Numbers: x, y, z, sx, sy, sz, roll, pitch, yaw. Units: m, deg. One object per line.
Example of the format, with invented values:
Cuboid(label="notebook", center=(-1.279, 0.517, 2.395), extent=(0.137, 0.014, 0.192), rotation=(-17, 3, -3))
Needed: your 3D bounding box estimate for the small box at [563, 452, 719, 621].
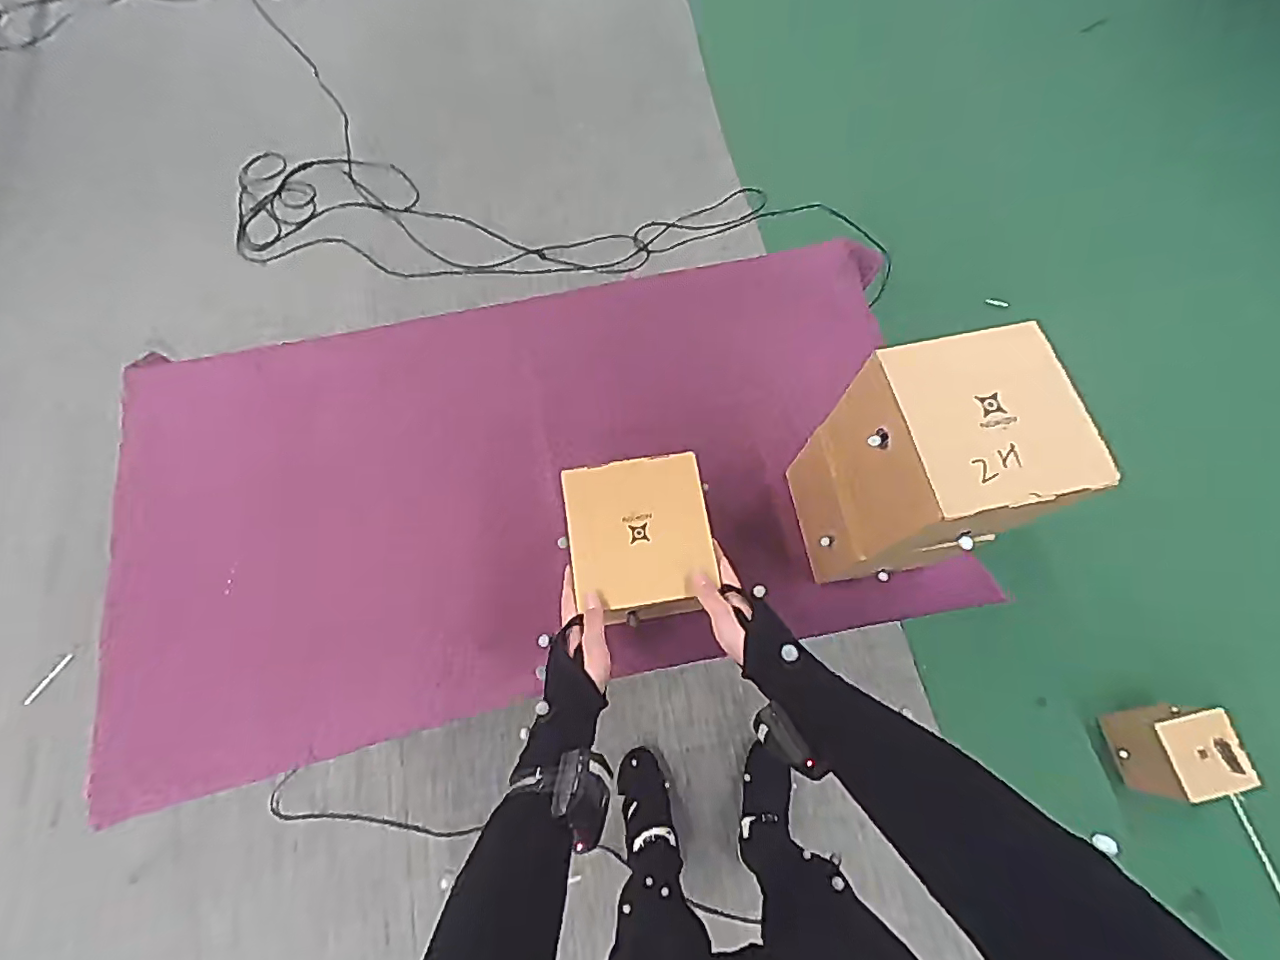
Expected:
Cuboid(label="small box", center=(0.000, 0.084, 0.702), extent=(0.168, 0.176, 0.179), rotation=(-8, 70, -2))

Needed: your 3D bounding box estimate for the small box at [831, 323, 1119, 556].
Cuboid(label="small box", center=(0.322, -0.033, 0.567), extent=(0.168, 0.176, 0.179), rotation=(-10, 71, -2))

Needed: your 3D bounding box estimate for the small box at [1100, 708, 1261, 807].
Cuboid(label="small box", center=(1.265, 0.647, 1.281), extent=(0.179, 0.176, 0.168), rotation=(-11, 71, -3))
